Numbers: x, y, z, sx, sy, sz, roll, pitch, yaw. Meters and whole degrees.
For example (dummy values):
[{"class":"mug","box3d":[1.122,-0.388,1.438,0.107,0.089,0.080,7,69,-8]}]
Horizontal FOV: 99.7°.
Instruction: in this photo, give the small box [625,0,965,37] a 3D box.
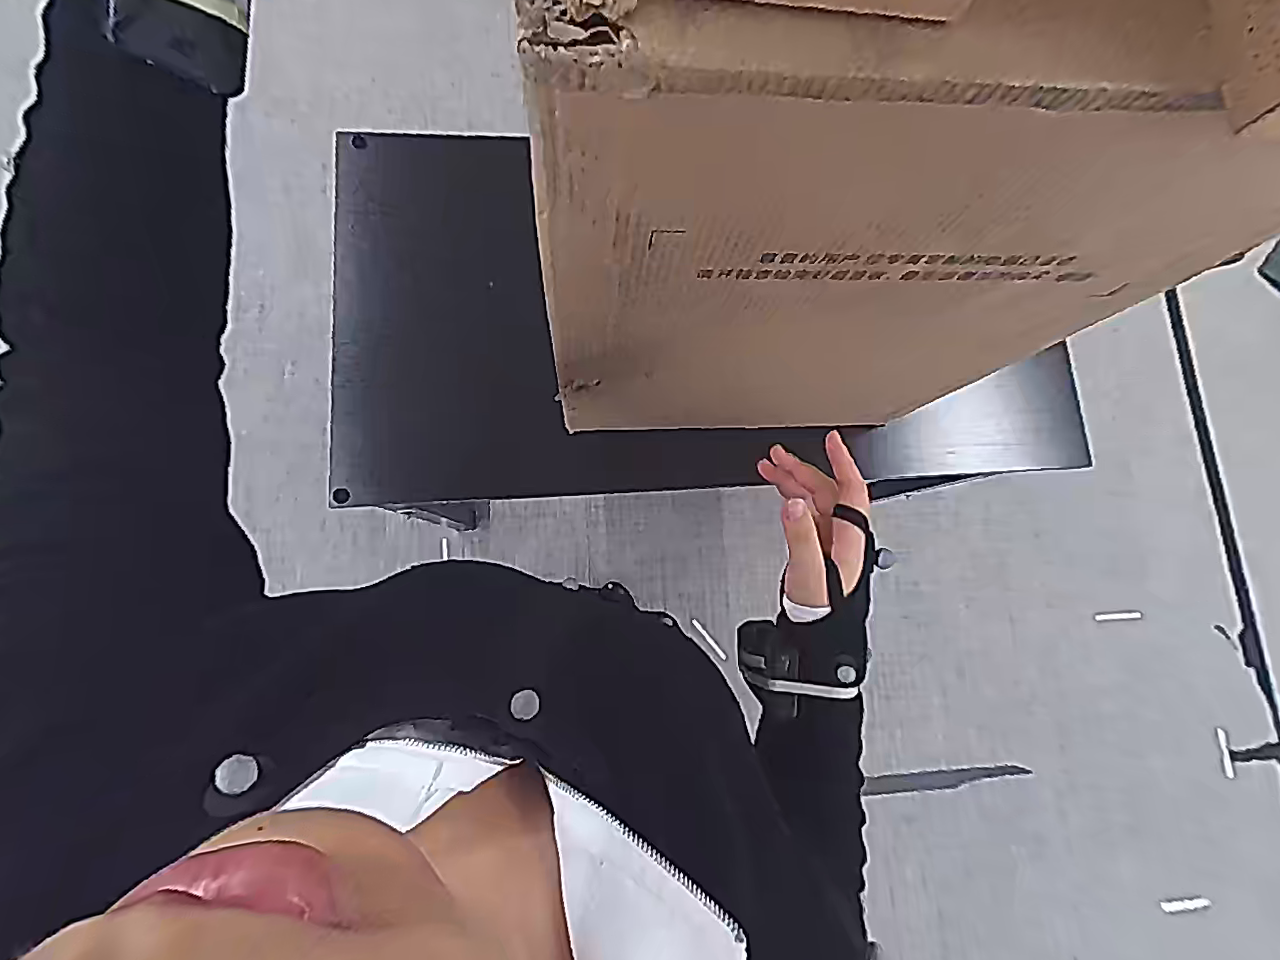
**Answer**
[{"class":"small box","box3d":[0.063,-0.287,0.157,0.168,0.176,0.179,-2,82,-8]}]
